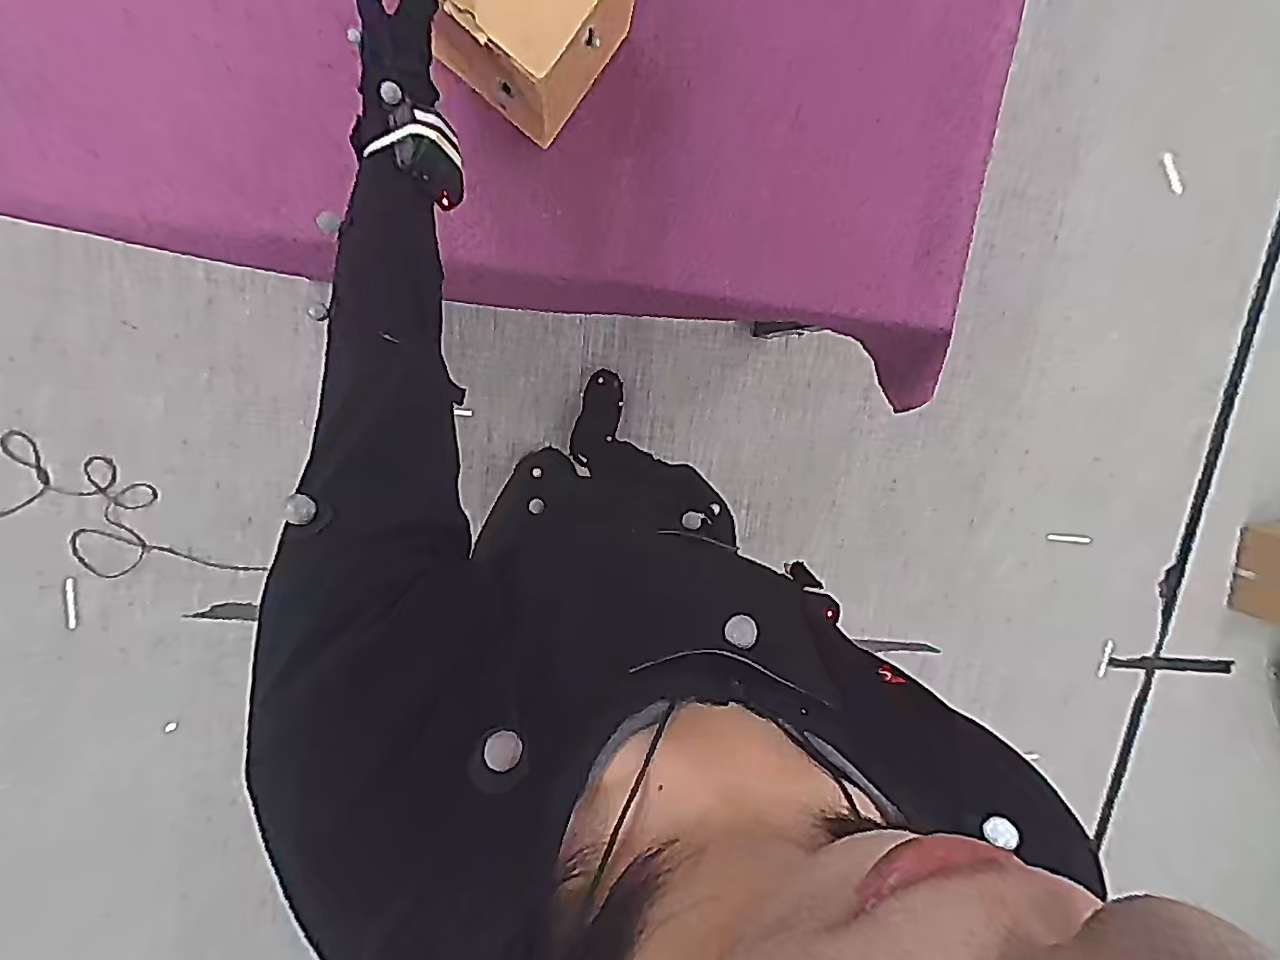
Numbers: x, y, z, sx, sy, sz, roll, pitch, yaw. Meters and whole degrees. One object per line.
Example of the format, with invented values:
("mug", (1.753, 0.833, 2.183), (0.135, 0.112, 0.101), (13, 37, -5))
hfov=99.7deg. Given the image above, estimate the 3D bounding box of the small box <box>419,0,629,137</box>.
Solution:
("small box", (-0.117, -0.514, 0.571), (0.168, 0.176, 0.179), (36, 95, -13))
